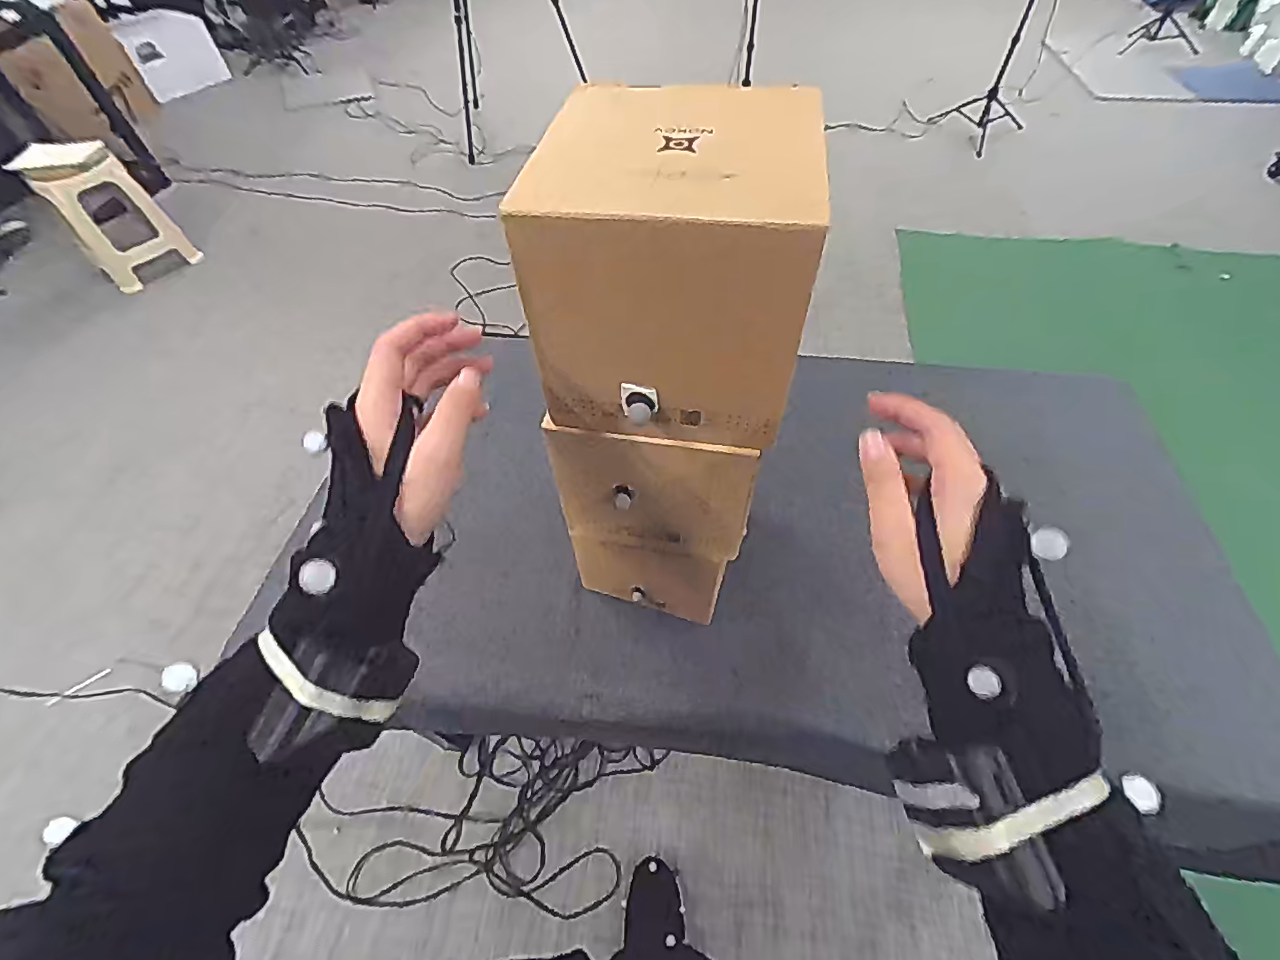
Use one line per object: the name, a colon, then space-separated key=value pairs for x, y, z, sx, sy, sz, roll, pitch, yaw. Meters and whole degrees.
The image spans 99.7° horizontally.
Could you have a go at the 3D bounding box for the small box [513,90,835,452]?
small box: x=0.030 y=-0.143 z=0.380 sx=0.168 sy=0.176 sz=0.179 roll=6 pitch=55 yaw=7

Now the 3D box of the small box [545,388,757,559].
small box: x=0.025 y=-0.045 z=0.510 sx=0.168 sy=0.176 sz=0.179 roll=8 pitch=54 yaw=8
